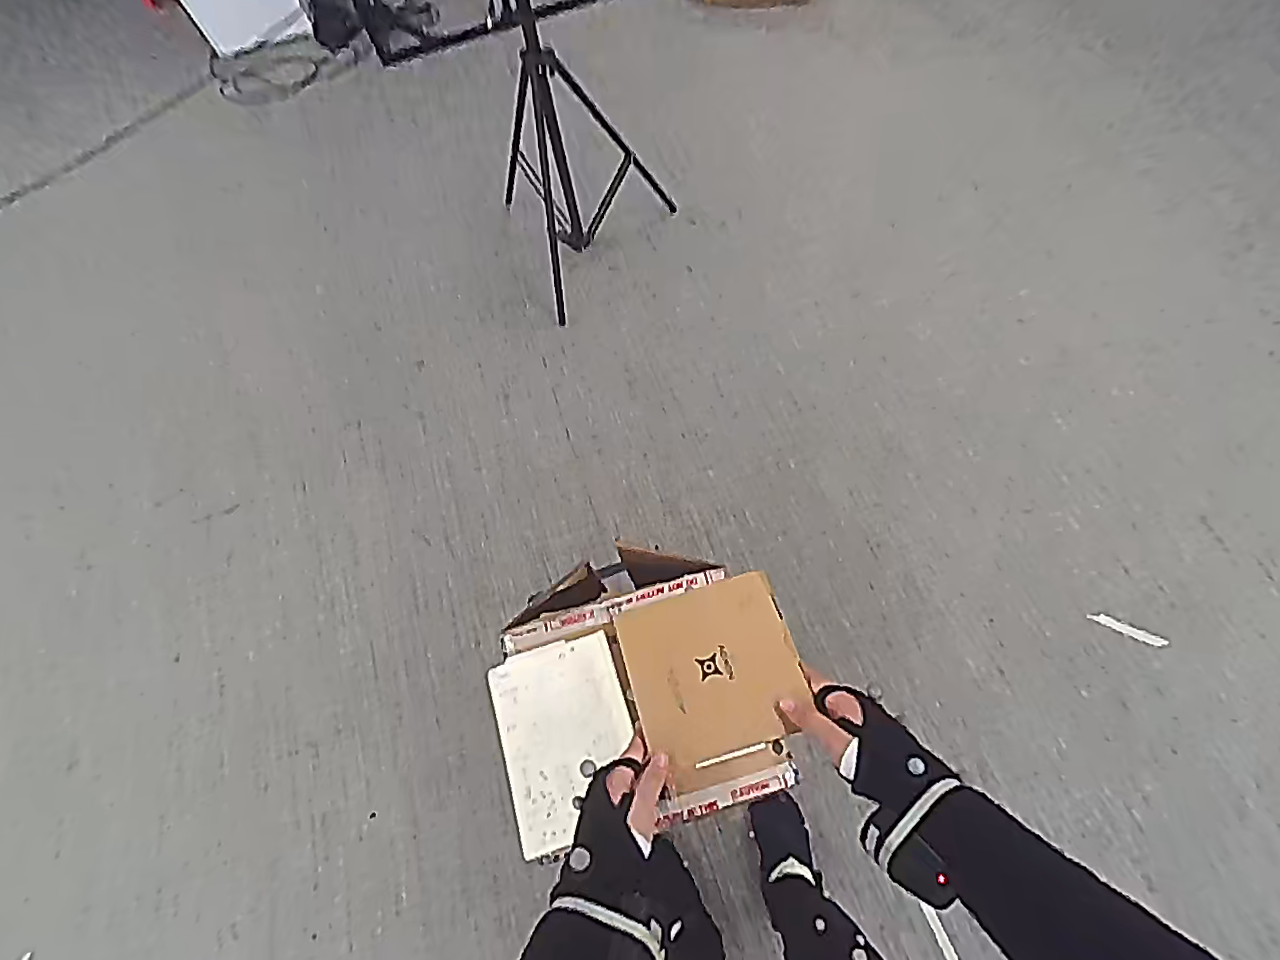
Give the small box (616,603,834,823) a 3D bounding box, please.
[{"bbox_3d":[0.085,0.255,0.605,0.179,0.176,0.168,-17,64,-2],"label":"small box"}]
